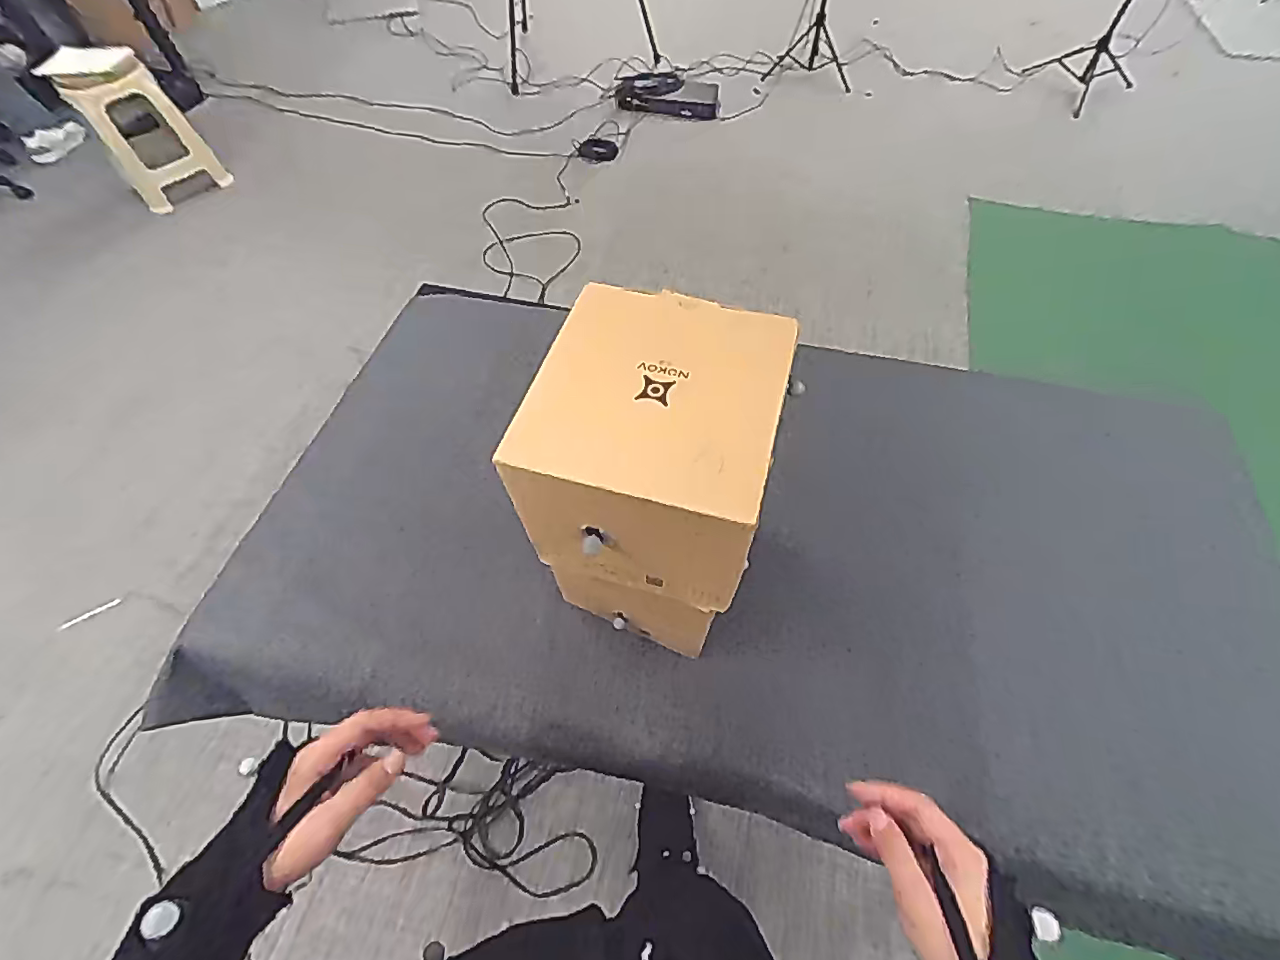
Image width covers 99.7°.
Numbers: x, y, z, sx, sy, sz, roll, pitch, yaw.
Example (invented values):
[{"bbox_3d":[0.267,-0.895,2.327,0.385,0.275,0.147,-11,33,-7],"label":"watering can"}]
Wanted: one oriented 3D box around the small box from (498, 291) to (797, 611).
[{"bbox_3d":[0.015,-0.016,0.430,0.168,0.176,0.179,13,59,10],"label":"small box"}]
